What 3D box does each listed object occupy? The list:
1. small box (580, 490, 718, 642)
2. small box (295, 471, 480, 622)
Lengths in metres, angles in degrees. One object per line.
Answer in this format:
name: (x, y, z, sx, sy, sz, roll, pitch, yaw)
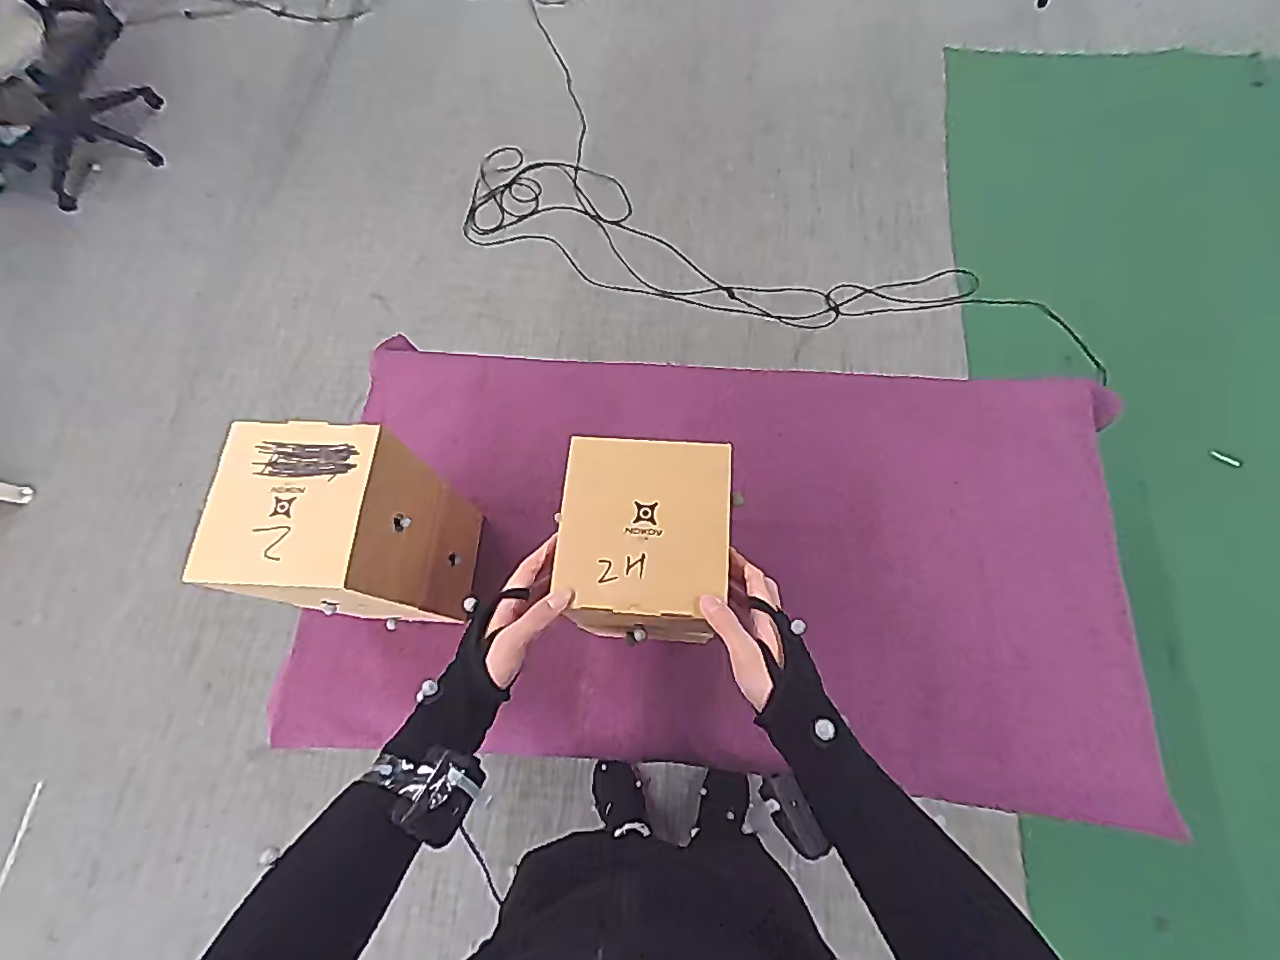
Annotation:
small box: (0.019, 0.126, 0.748, 0.168, 0.176, 0.179, 3, 69, 4)
small box: (-0.340, 0.101, 0.771, 0.168, 0.176, 0.179, 2, 70, 4)
